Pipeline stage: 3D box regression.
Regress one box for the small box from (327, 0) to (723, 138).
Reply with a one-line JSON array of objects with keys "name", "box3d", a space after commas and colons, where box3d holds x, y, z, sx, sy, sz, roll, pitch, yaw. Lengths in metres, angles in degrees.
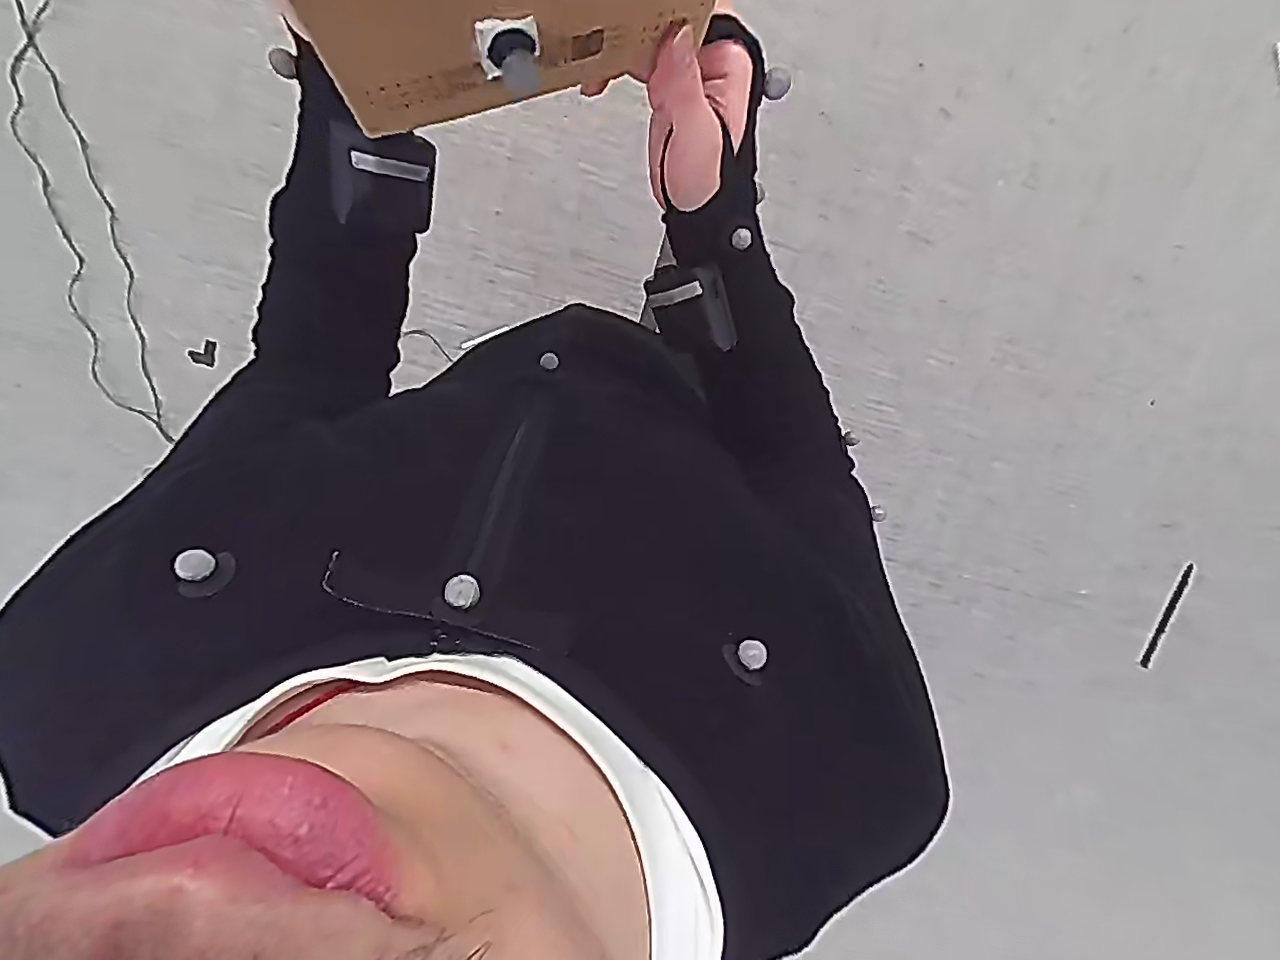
[{"name": "small box", "box3d": [-0.058, -0.264, 0.179, 0.168, 0.176, 0.179, -23, 95, -7]}]
